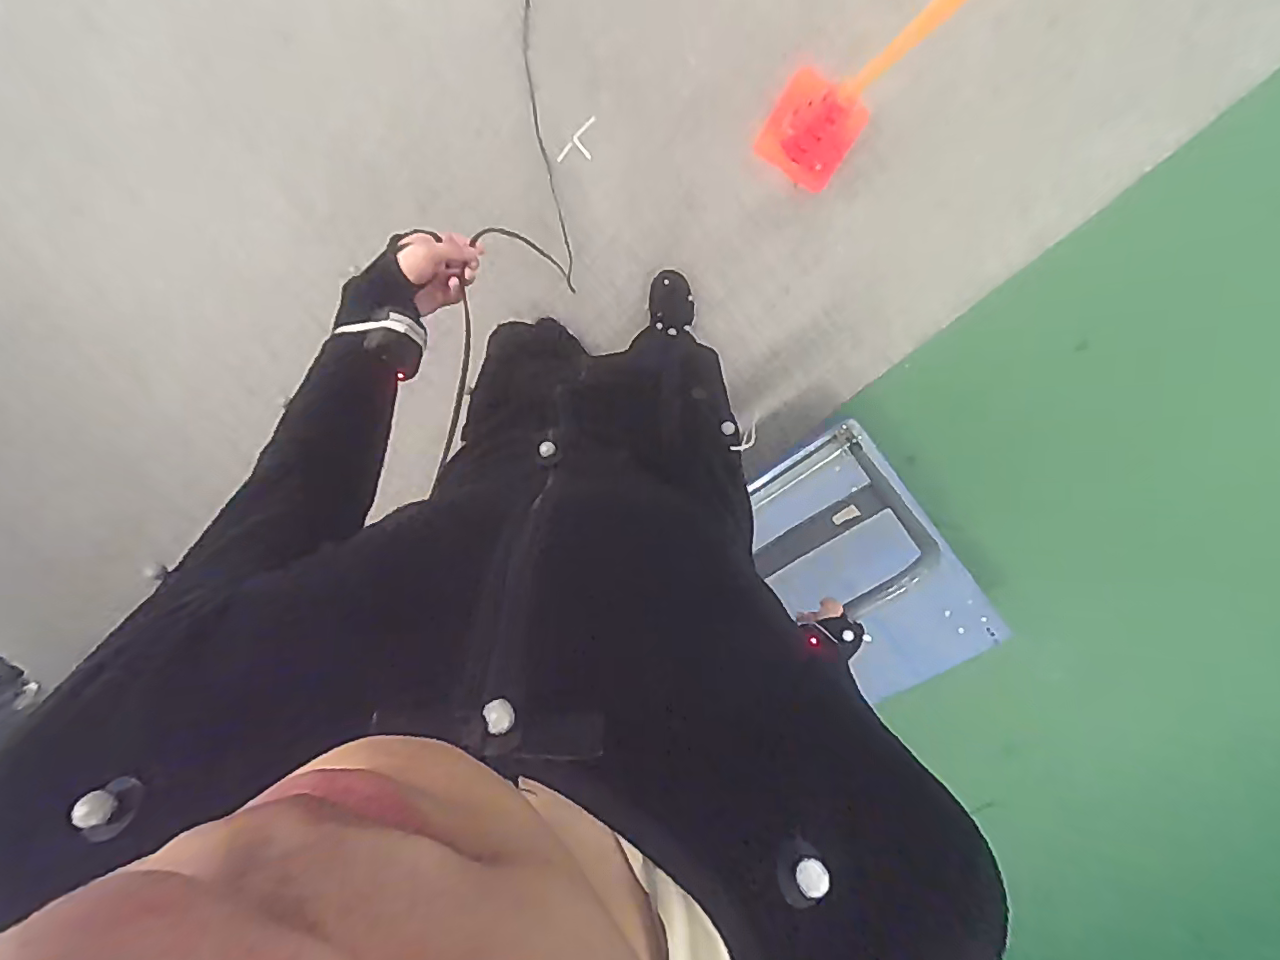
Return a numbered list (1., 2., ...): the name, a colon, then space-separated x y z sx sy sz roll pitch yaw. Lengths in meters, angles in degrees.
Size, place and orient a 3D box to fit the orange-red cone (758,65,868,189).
1. orange-red cone: 0.391 -0.758 1.117 0.198 0.360 0.199 31 112 -9
